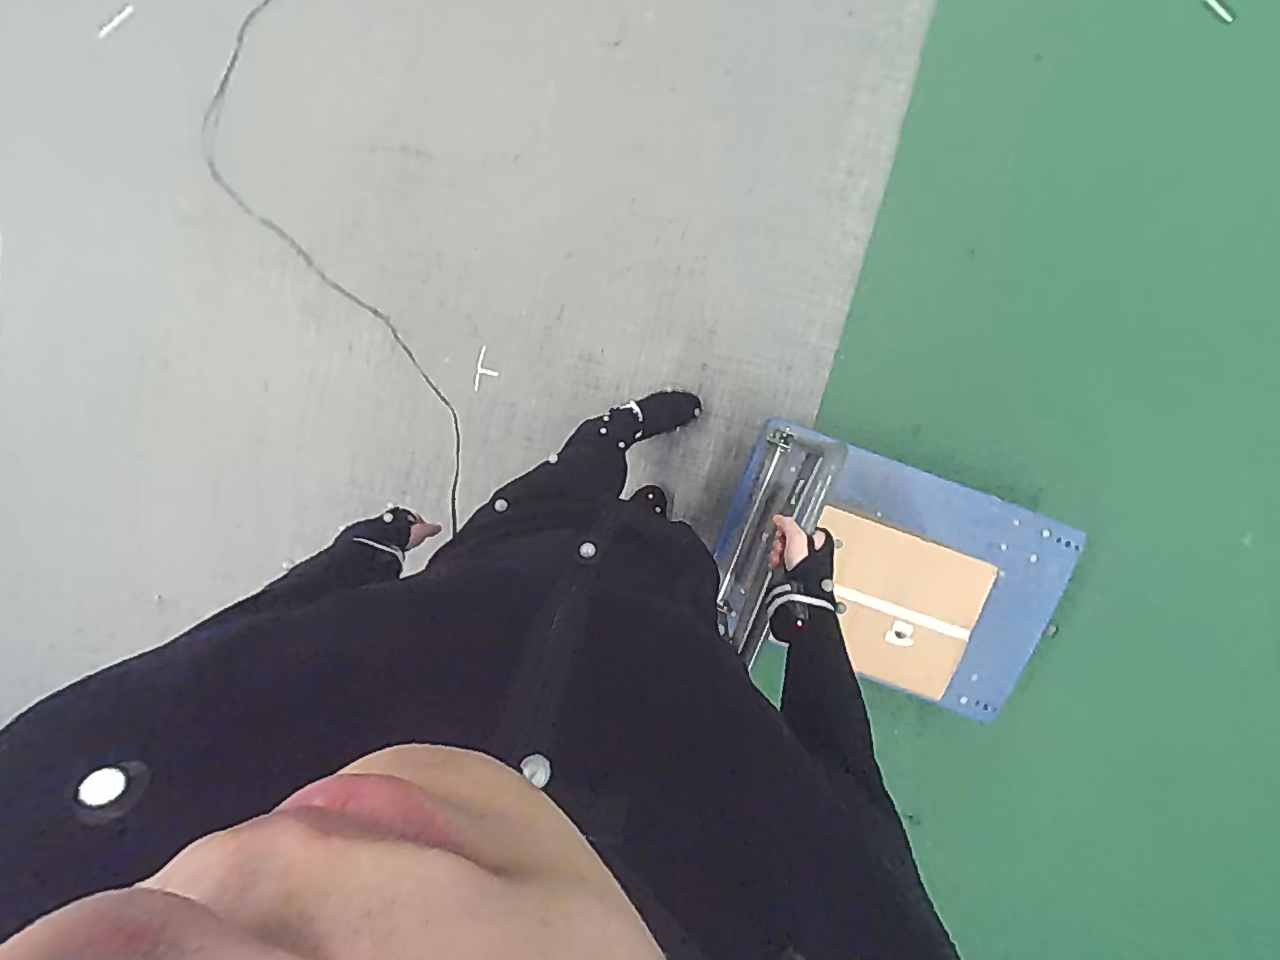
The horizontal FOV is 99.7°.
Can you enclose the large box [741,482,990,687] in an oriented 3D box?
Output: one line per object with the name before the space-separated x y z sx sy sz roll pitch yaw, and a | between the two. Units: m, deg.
large box | 0.497 0.222 1.285 0.408 0.320 0.320 20 98 0
